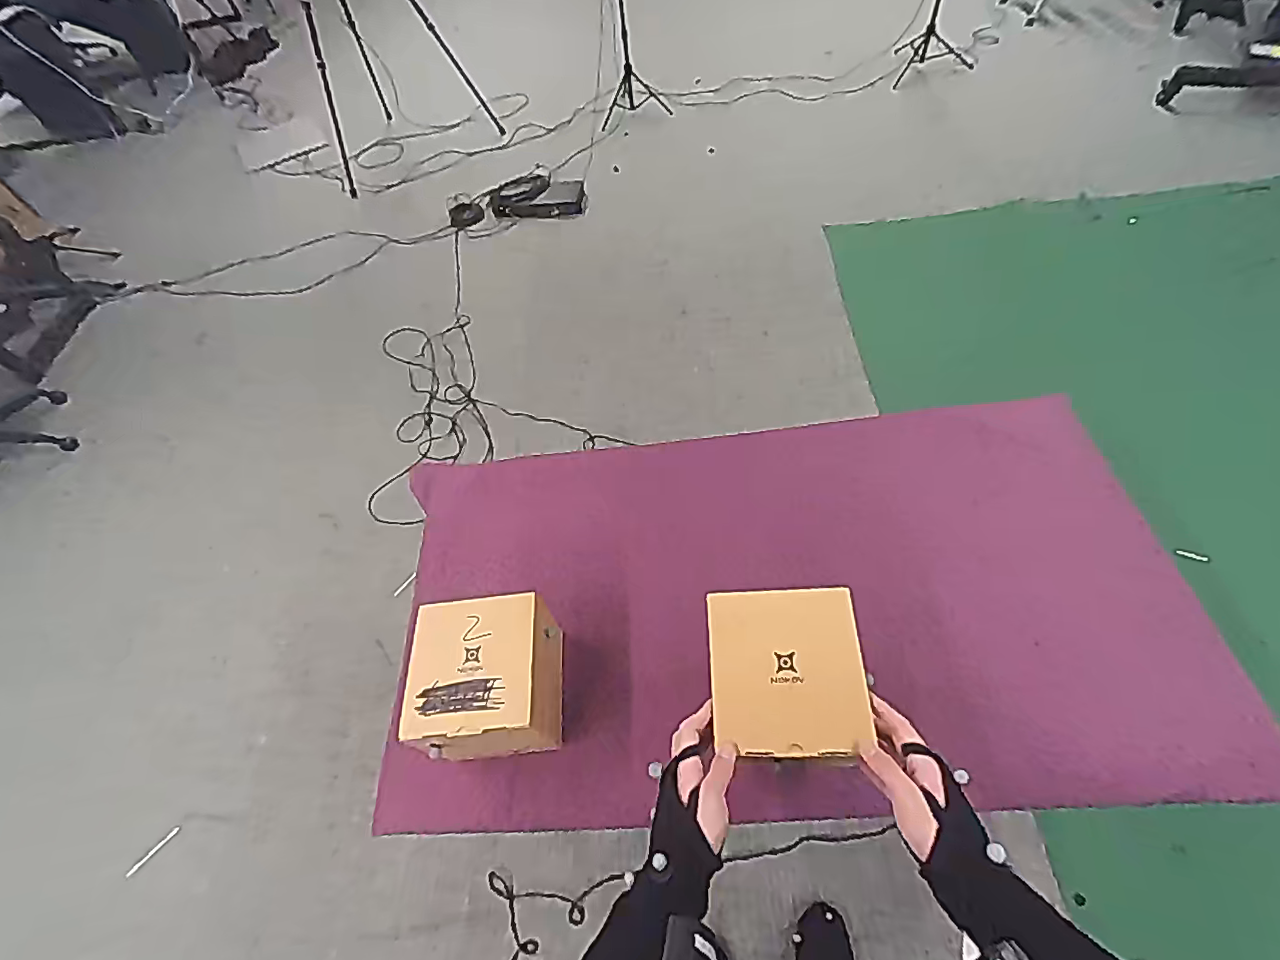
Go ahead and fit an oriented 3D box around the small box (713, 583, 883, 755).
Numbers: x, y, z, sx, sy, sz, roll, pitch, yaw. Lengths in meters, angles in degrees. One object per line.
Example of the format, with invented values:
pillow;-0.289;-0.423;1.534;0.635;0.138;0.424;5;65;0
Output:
small box;0.177;0.238;0.665;0.168;0.176;0.179;-4;62;7
